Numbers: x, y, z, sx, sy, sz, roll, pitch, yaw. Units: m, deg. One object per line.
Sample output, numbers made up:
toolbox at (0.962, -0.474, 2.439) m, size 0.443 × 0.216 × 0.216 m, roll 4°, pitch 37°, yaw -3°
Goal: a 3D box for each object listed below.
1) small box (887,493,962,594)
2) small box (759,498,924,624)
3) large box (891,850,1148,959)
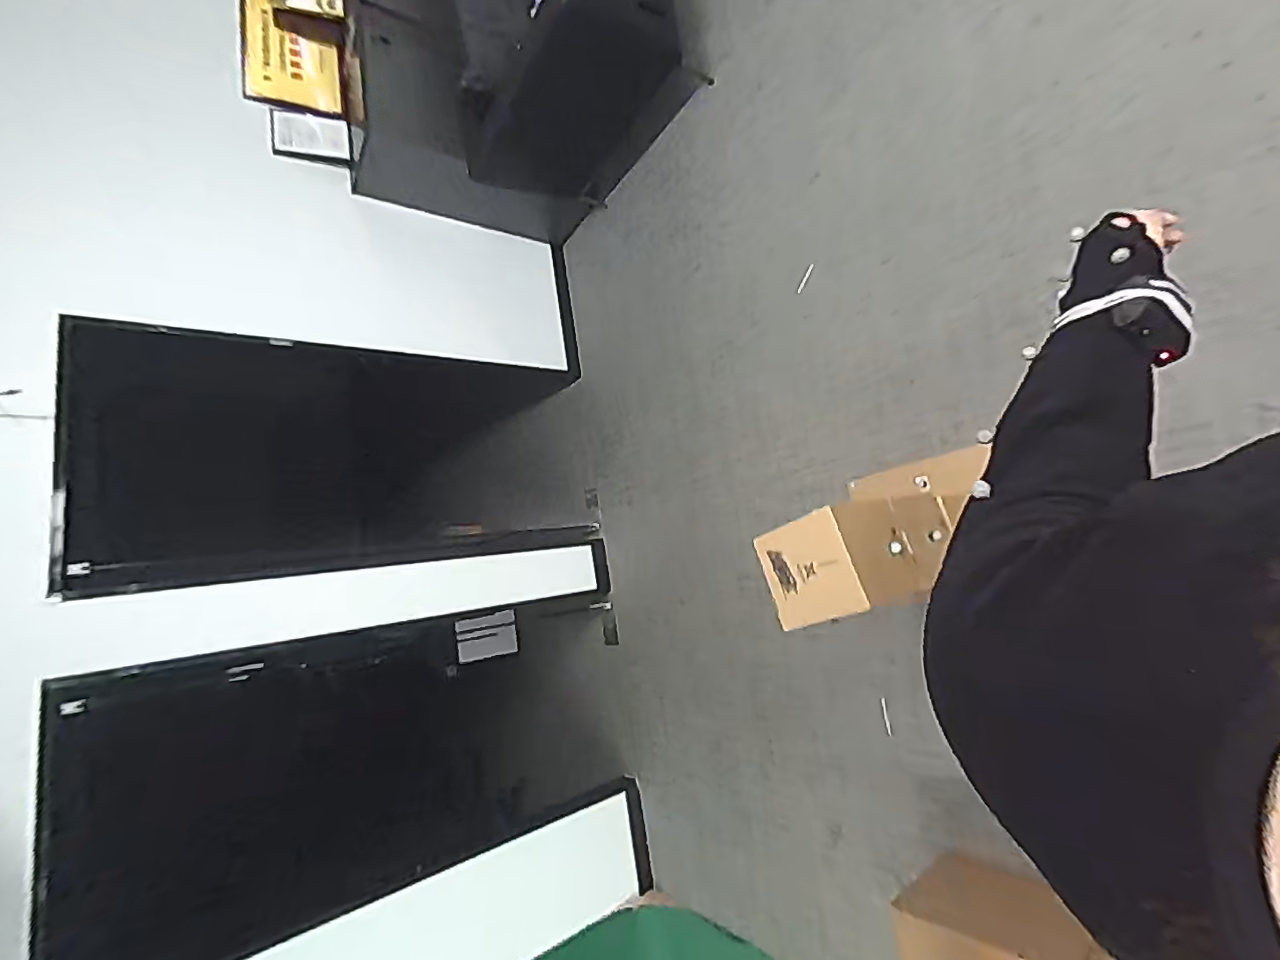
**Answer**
small box at (0.477, 0.130, 1.027) m, size 0.179 × 0.176 × 0.168 m, roll -35°, pitch 65°, yaw 48°
small box at (0.343, 0.138, 0.930) m, size 0.179 × 0.176 × 0.168 m, roll -36°, pitch 65°, yaw 48°
large box at (0.868, 1.115, 1.219) m, size 0.408 × 0.320 × 0.320 m, roll -24°, pitch 72°, yaw 53°
